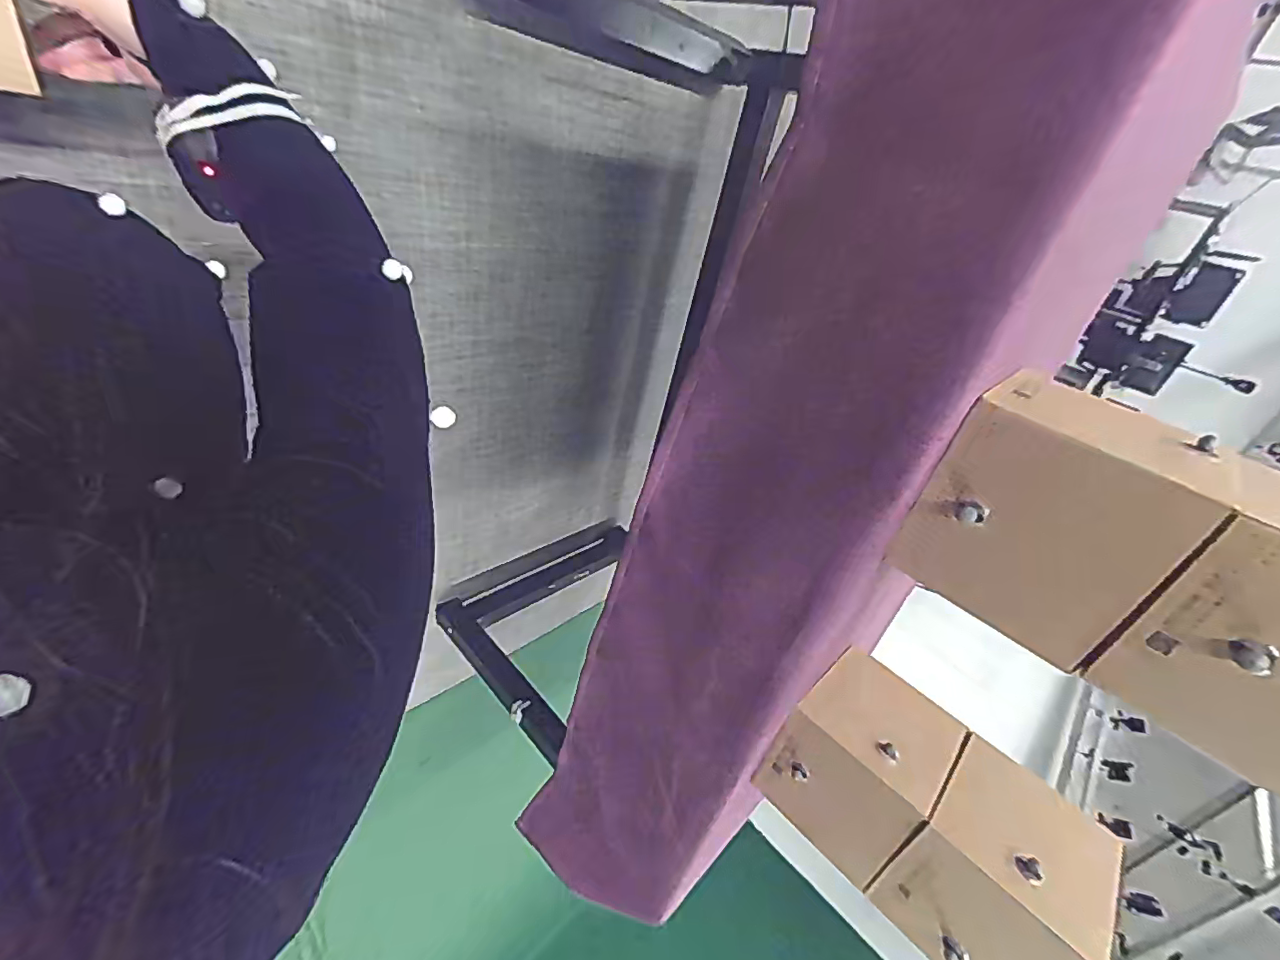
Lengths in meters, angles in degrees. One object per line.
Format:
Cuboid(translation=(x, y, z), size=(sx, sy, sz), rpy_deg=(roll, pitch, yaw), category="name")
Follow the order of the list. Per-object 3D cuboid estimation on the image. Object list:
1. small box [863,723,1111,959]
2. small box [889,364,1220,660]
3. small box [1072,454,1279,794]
Cuboid(translation=(0.390, 0.428, 0.624), size=(0.179, 0.176, 0.168), rpy_deg=(-21, 137, -43), category="small box")
Cuboid(translation=(0.356, 0.017, 0.490), size=(0.168, 0.176, 0.179), rpy_deg=(-24, 139, -42), category="small box")
Cuboid(translation=(0.475, 0.099, 0.410), size=(0.179, 0.176, 0.168), rpy_deg=(-21, 136, -43), category="small box")
